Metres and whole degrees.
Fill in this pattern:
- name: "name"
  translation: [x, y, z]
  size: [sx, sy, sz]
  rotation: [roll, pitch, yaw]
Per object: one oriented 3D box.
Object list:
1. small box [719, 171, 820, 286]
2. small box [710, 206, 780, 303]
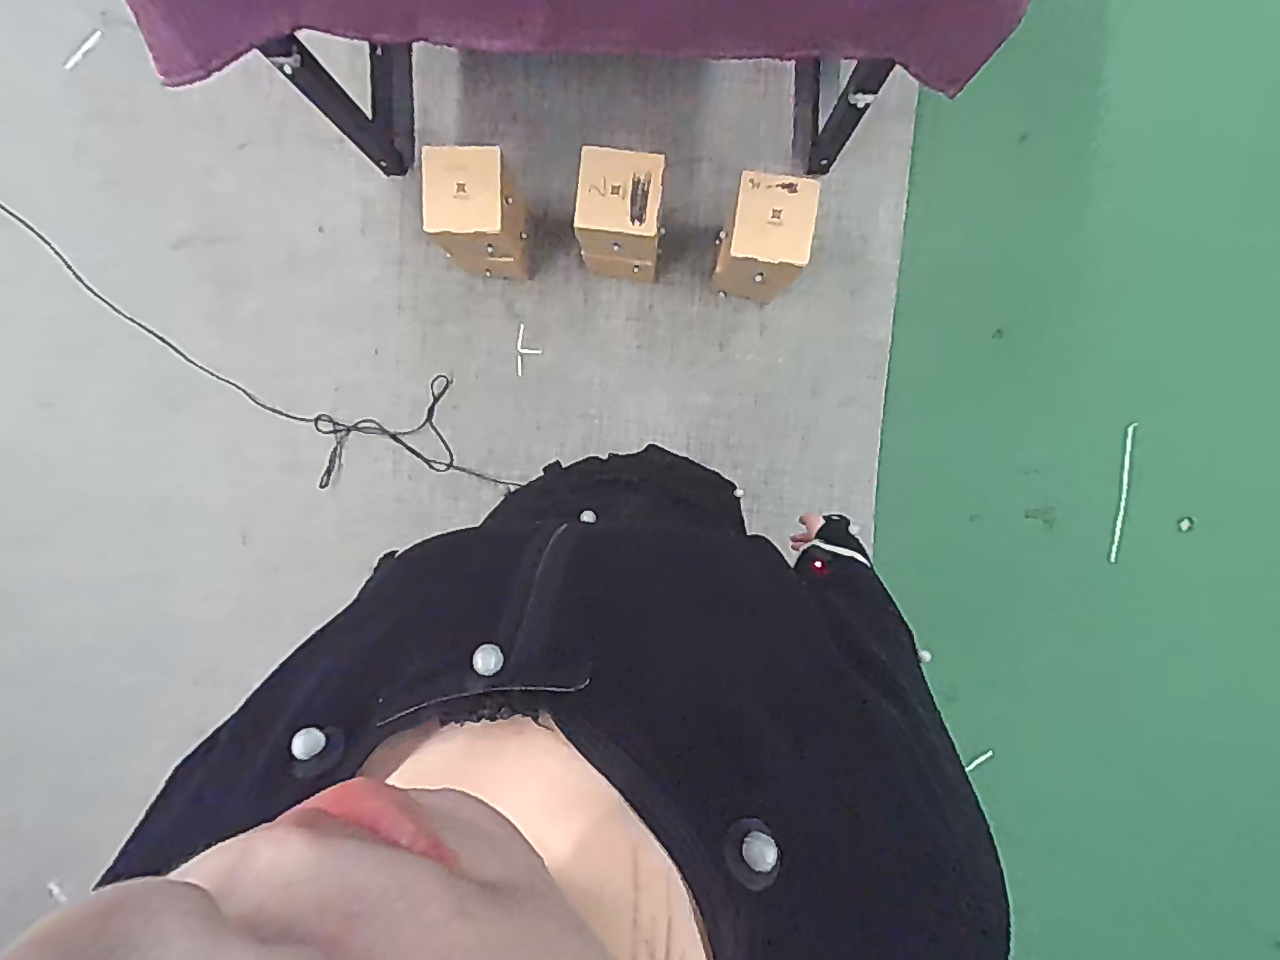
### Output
- name: "small box"
  translation: [0.276, -0.544, 1.196]
  size: [0.168, 0.176, 0.179]
  rotation: [9, 96, -1]
- name: "small box"
  translation: [0.278, -0.563, 1.361]
  size: [0.168, 0.176, 0.179]
  rotation: [13, 94, 0]
